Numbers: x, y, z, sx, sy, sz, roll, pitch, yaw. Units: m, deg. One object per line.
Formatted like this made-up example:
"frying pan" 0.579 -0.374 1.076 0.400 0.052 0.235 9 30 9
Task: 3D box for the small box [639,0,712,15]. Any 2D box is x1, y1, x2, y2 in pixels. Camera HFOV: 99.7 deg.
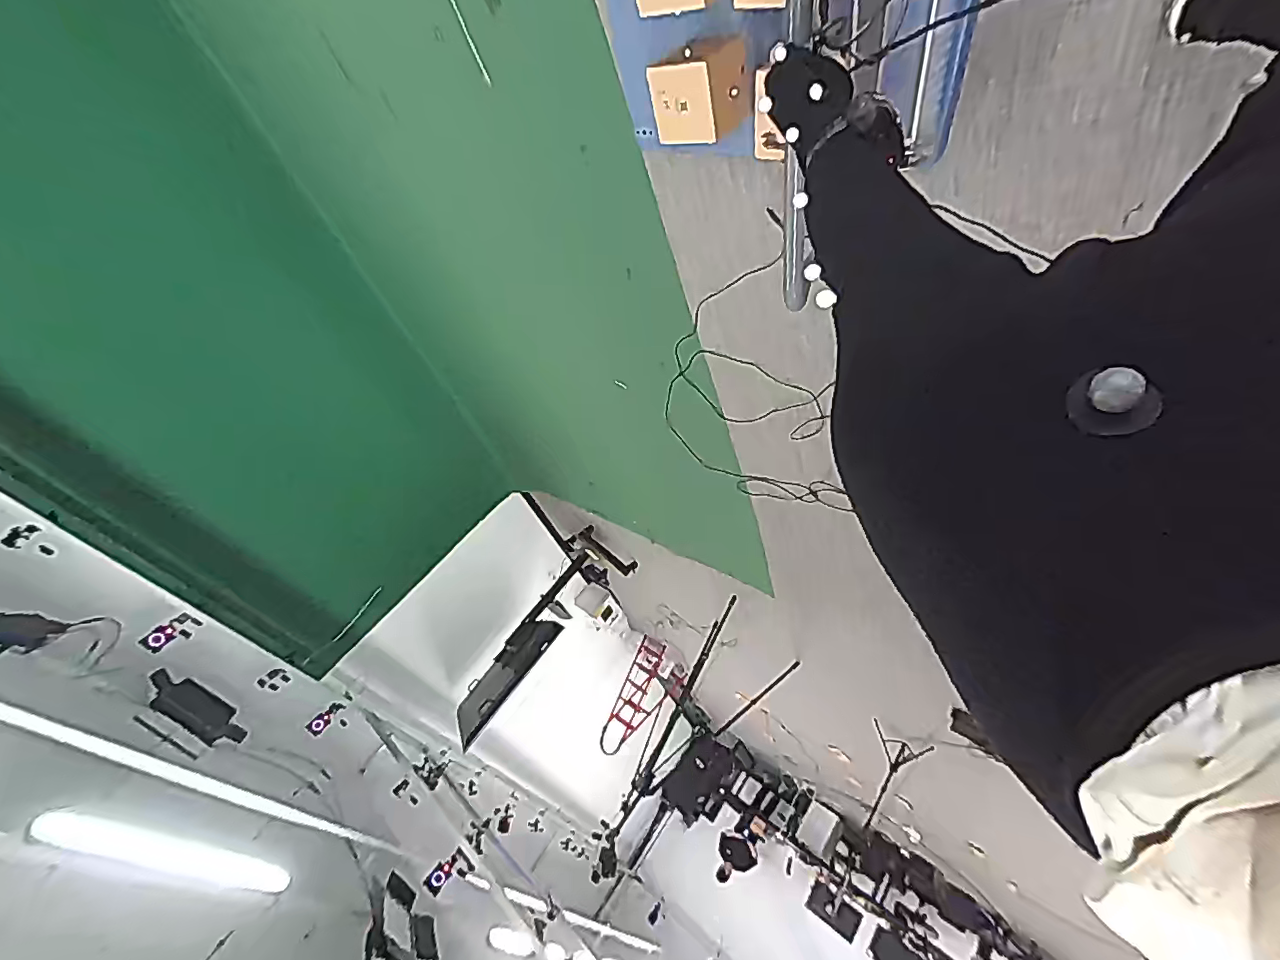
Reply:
"small box" 0.101 -1.112 1.132 0.179 0.176 0.168 24 152 32

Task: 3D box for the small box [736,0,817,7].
"small box" 0.294 -1.019 1.013 0.179 0.176 0.168 25 152 29

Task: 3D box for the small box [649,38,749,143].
"small box" 0.154 -0.953 1.327 0.179 0.176 0.168 24 150 34
